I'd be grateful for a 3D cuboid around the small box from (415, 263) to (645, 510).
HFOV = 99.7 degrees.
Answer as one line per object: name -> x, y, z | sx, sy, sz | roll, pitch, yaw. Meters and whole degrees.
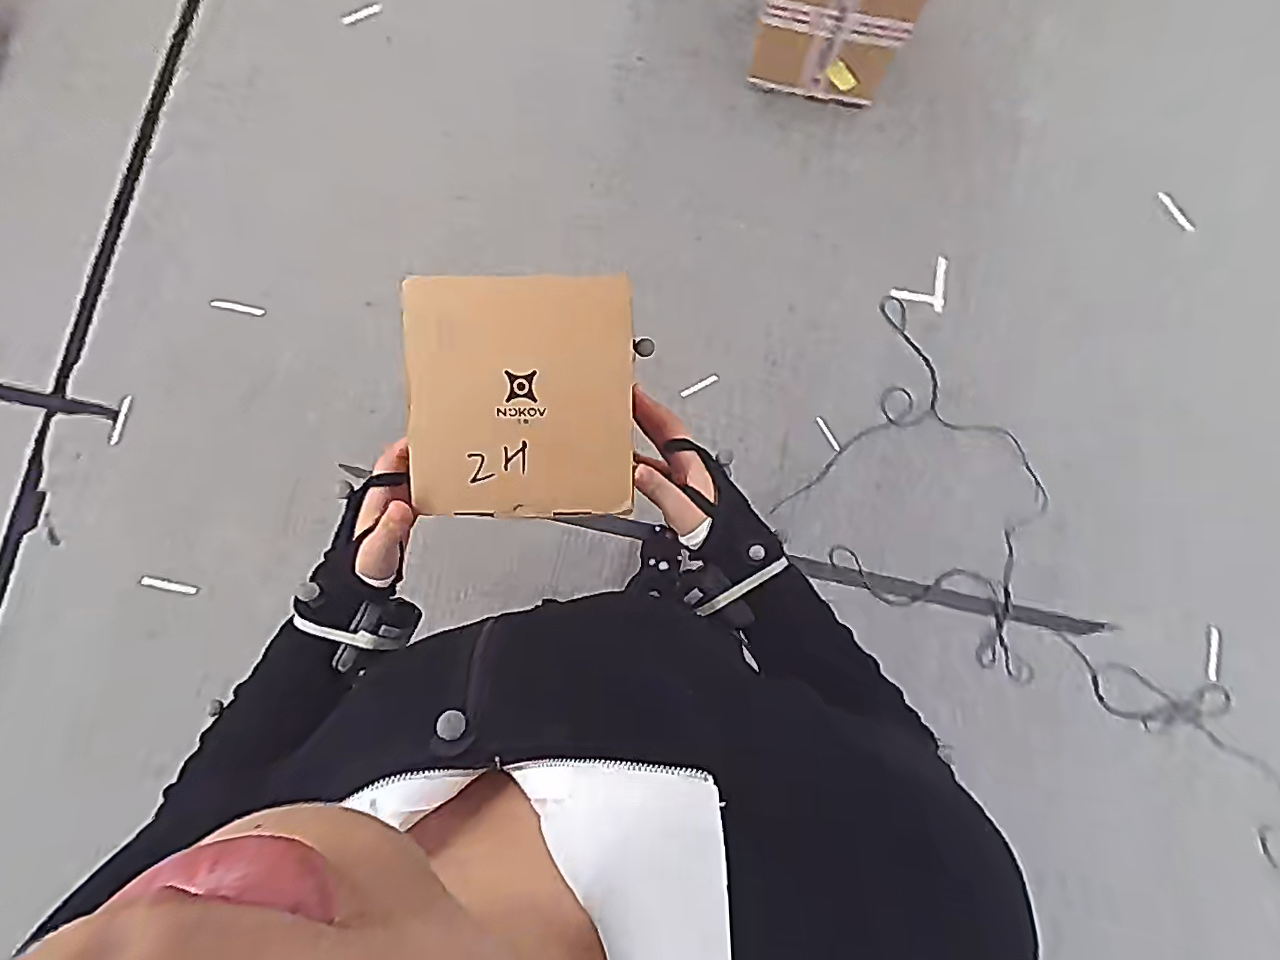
small box -> -0.084, -0.073, 0.474 | 0.168, 0.176, 0.179 | 1, 95, -1
